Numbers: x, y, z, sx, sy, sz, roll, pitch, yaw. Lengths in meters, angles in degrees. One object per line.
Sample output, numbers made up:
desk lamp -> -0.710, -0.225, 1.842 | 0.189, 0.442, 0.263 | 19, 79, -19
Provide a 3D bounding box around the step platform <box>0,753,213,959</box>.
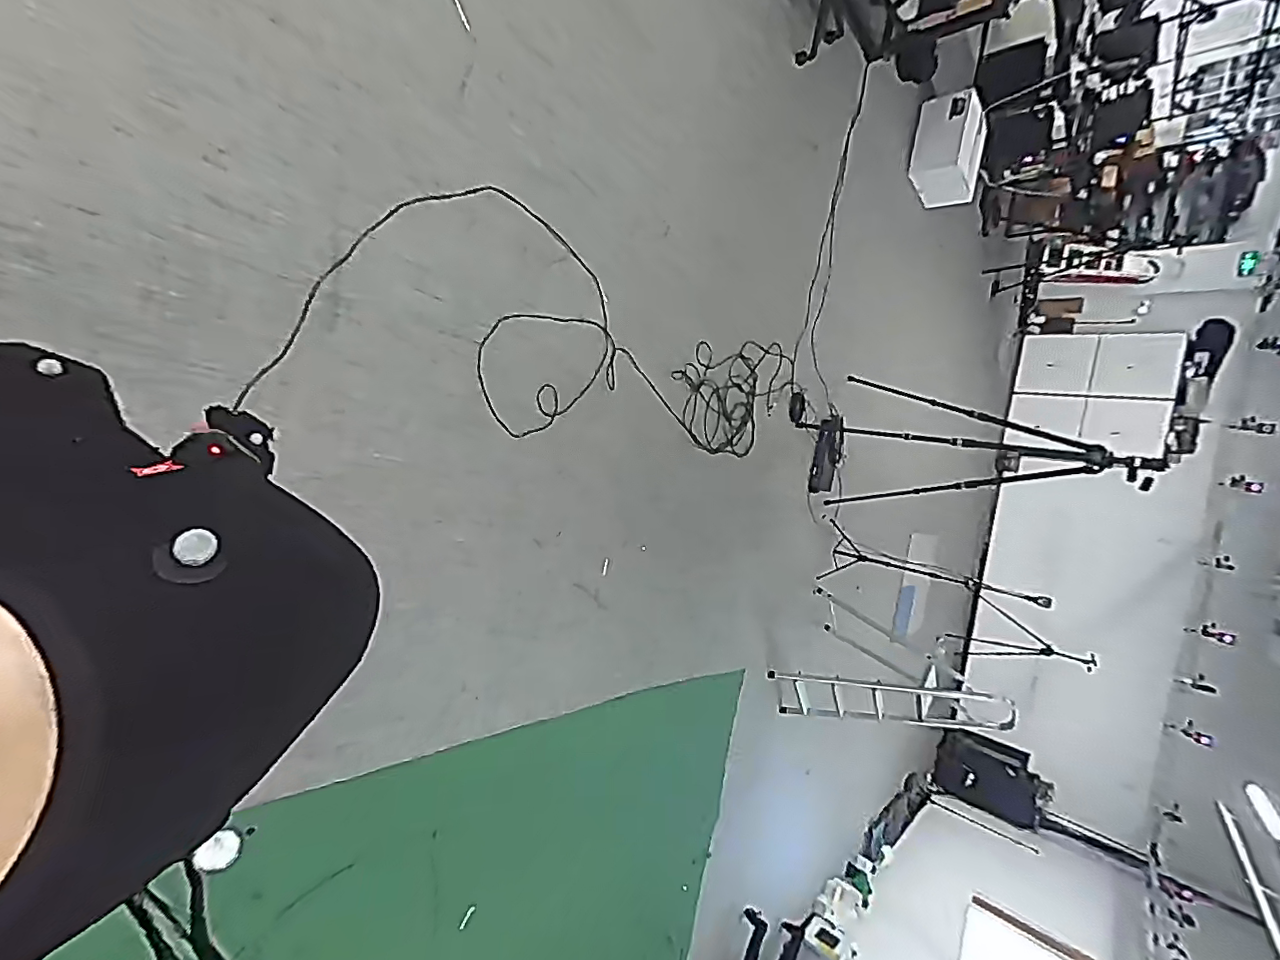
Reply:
step platform -> -1.082, 0.658, 0.800 | 0.684, 0.204, 0.286 | 9, 92, -50
